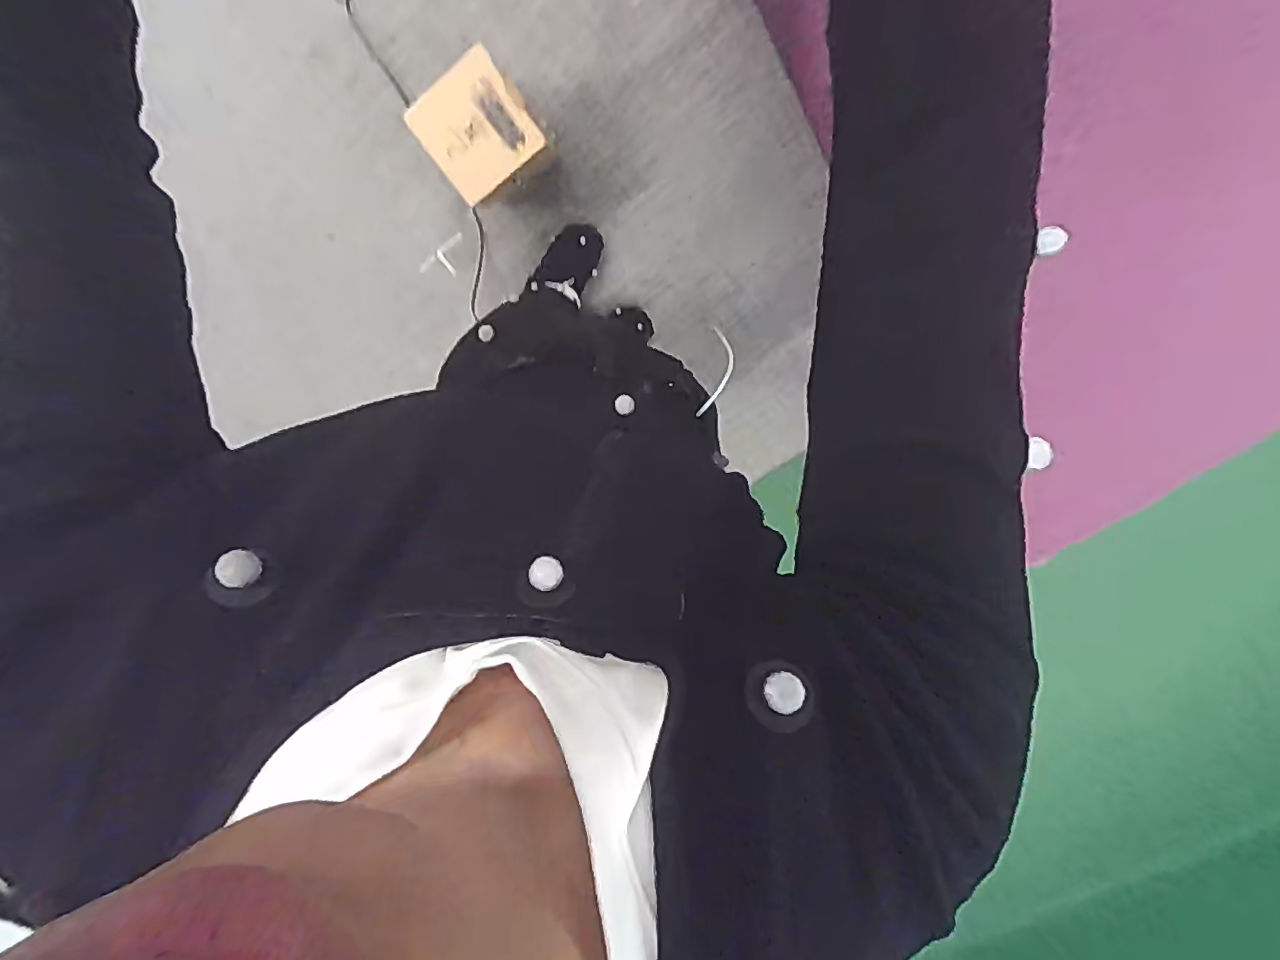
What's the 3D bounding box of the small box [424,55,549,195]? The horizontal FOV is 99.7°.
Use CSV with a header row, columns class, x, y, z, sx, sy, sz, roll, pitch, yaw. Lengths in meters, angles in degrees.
class,x,y,z,sx,sy,sz,roll,pitch,yaw
small box,-0.301,-0.713,1.103,0.179,0.176,0.168,-31,115,12
